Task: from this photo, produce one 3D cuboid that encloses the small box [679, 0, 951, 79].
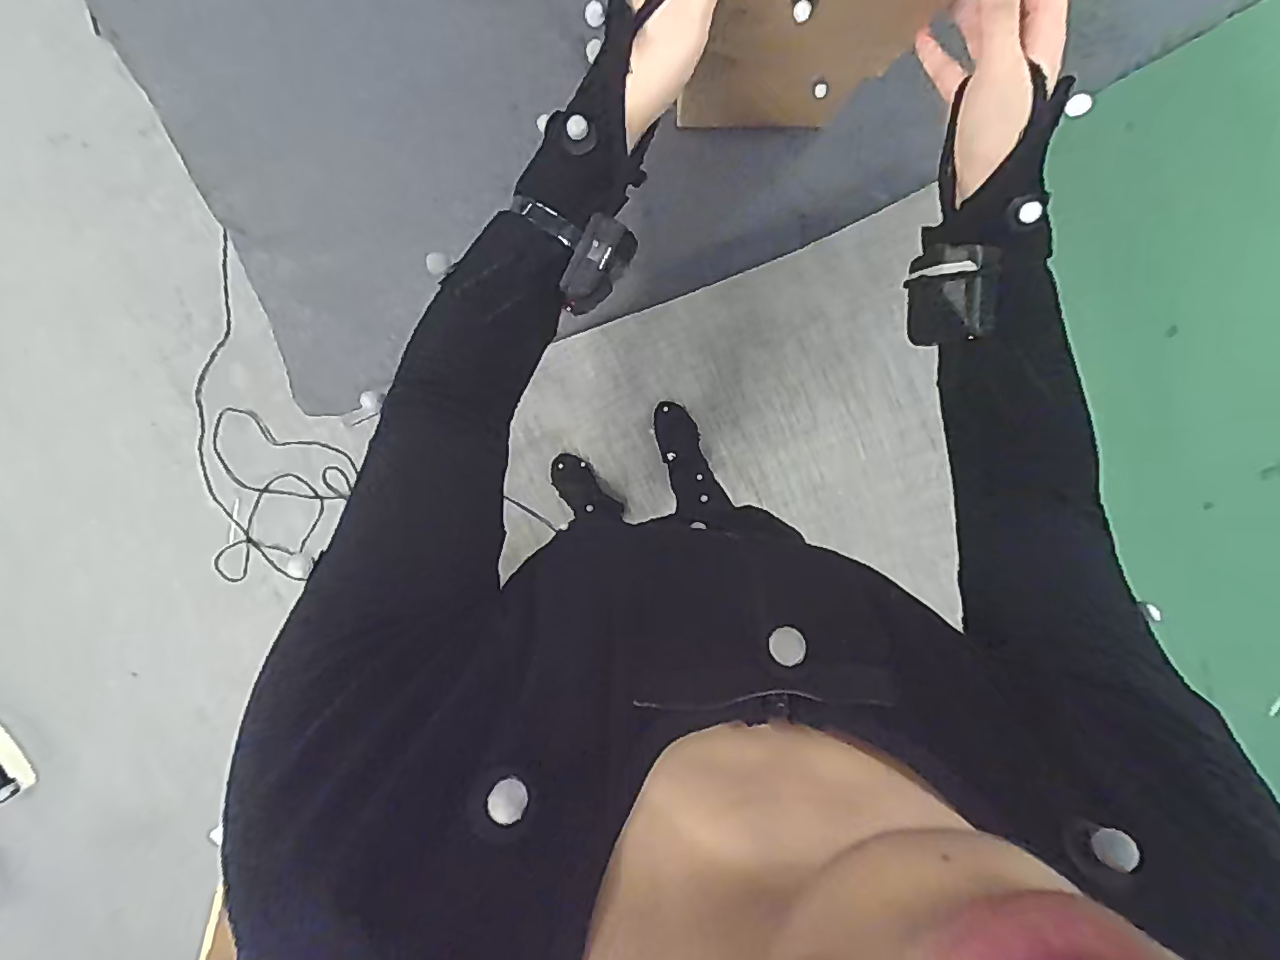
[{"bbox_3d":[0.129,-0.410,0.368,0.179,0.176,0.168,8,105,-2],"label":"small box"}]
